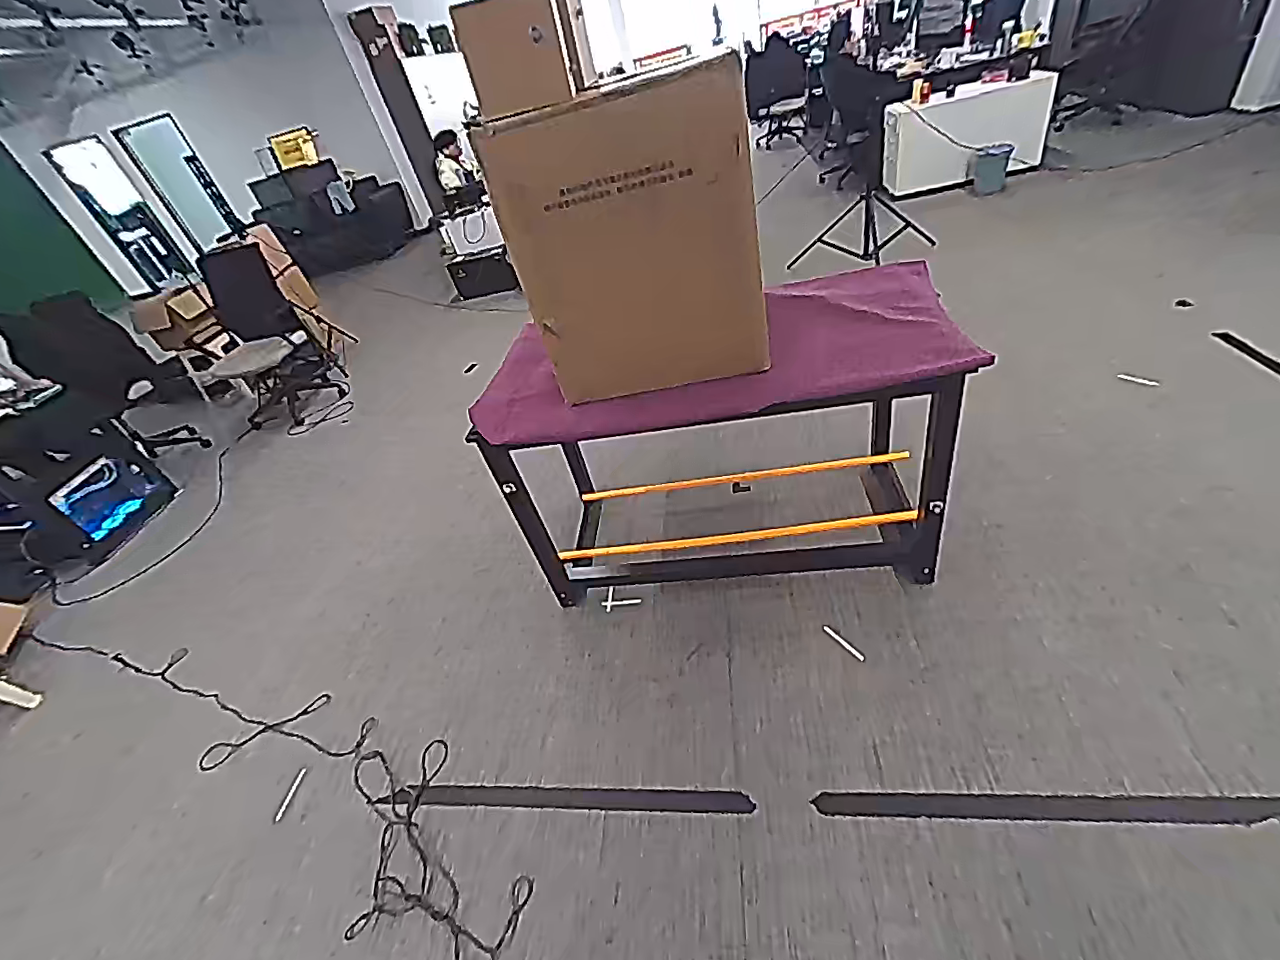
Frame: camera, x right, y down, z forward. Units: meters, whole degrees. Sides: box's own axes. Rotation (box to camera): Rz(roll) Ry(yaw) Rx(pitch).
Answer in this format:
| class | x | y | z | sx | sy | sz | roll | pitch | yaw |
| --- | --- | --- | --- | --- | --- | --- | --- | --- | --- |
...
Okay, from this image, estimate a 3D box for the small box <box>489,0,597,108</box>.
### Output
| class | x | y | z | sx | sy | sz | roll | pitch | yaw |
| --- | --- | --- | --- | --- | --- | --- | --- | --- | --- |
| small box | -0.200 | -0.935 | 1.182 | 0.168 | 0.176 | 0.179 | -5 | 39 | 12 |
